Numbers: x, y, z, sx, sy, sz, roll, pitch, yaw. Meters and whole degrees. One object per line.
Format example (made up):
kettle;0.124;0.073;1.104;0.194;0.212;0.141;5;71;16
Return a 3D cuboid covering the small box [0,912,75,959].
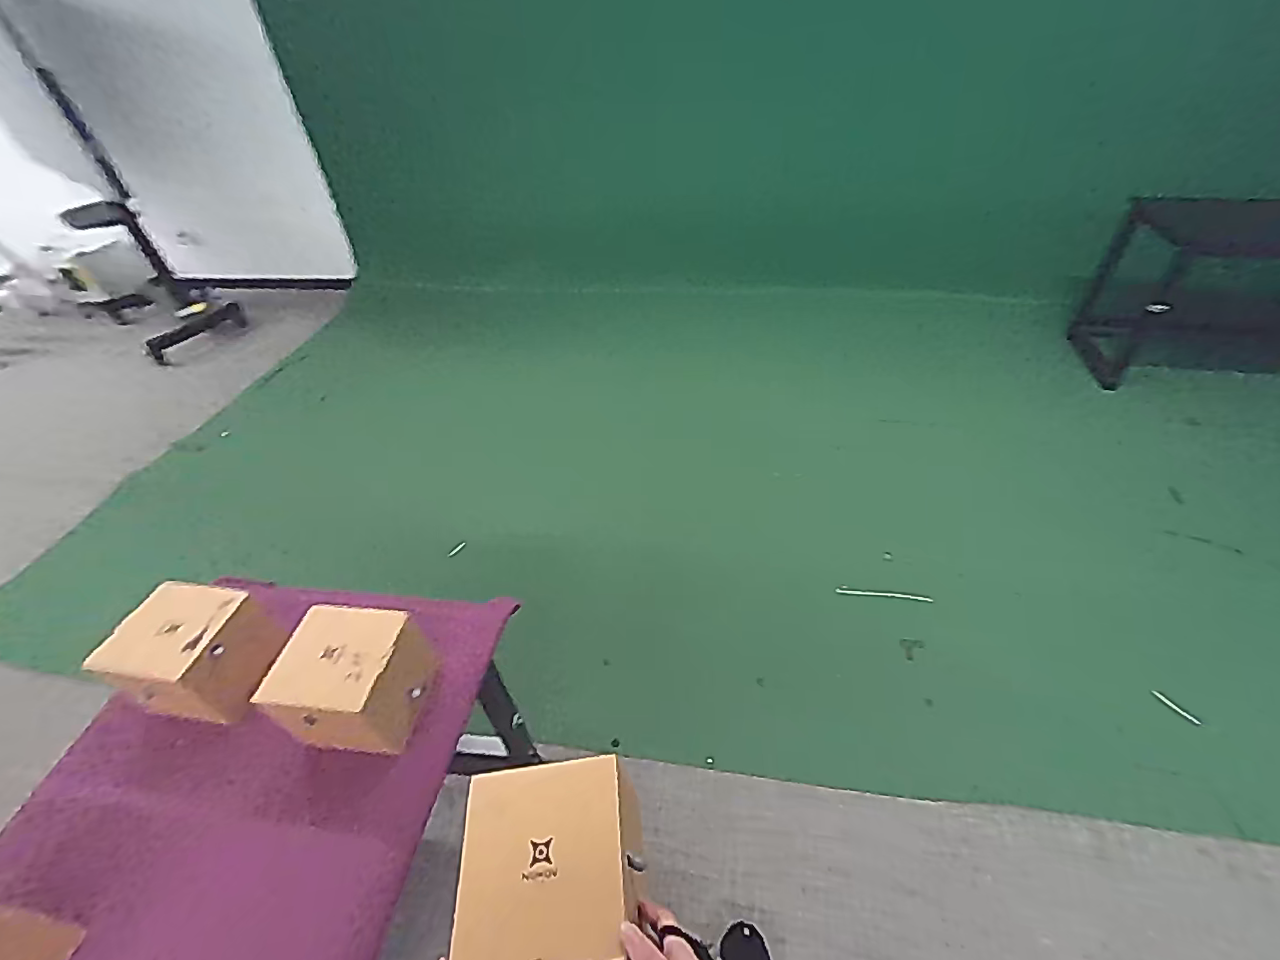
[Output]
small box;-0.847;0.600;0.622;0.179;0.176;0.168;7;45;8

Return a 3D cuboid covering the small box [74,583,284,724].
small box;-0.771;0.299;0.928;0.179;0.176;0.168;5;45;8

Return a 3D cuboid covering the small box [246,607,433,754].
small box;-0.471;0.327;0.879;0.179;0.176;0.168;4;46;7

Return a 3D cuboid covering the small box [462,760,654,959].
small box;-0.078;0.434;0.594;0.168;0.176;0.179;-8;48;1
